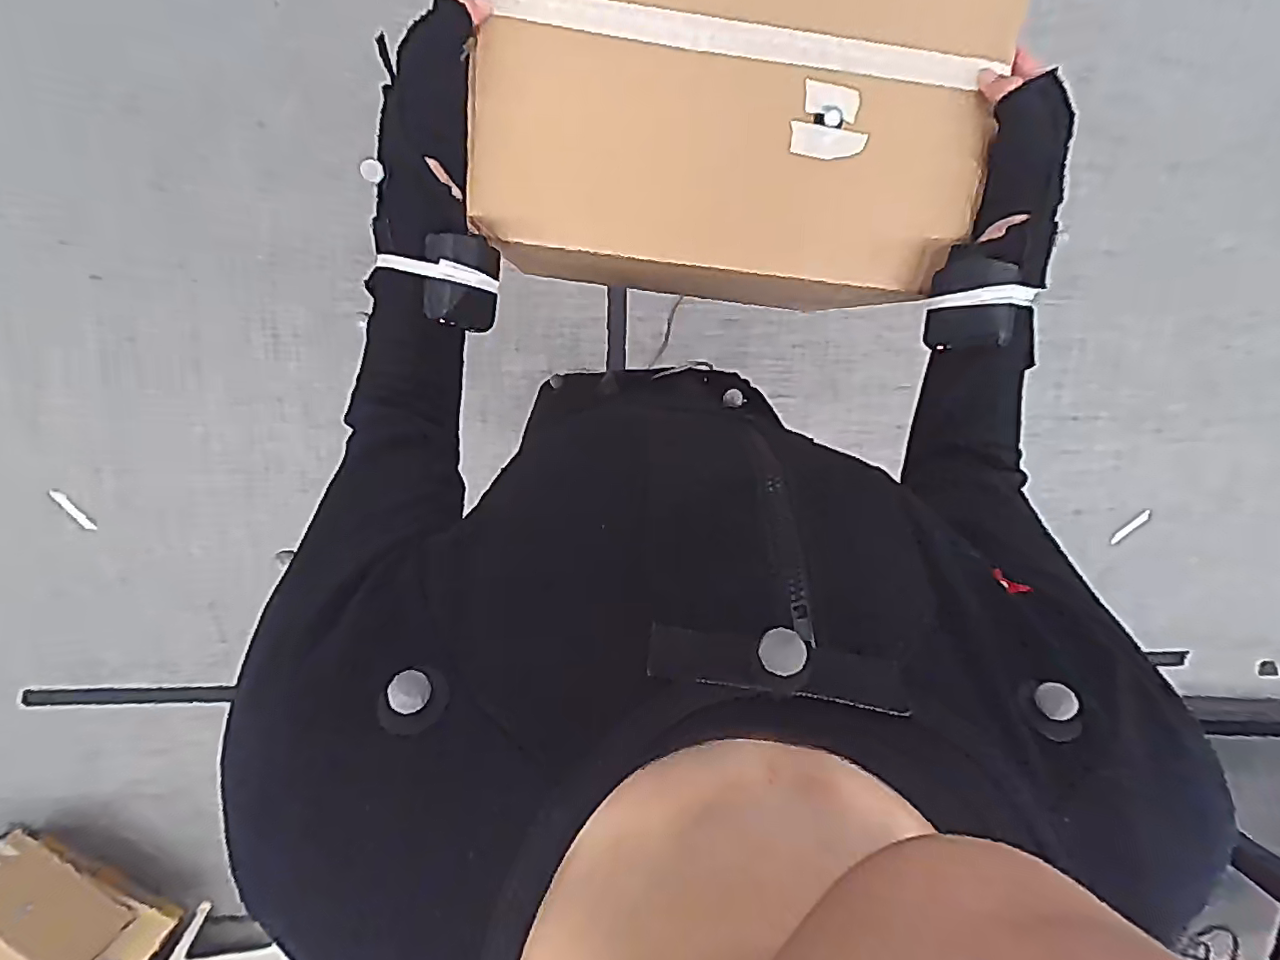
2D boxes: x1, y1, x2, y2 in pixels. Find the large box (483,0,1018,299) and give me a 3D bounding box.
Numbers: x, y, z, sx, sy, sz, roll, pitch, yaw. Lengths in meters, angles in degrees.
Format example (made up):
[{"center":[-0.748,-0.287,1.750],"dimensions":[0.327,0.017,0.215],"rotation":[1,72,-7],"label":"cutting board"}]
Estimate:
[{"center":[0.072,-0.372,0.550],"dimensions":[0.408,0.320,0.320],"rotation":[5,106,-7],"label":"large box"}]
